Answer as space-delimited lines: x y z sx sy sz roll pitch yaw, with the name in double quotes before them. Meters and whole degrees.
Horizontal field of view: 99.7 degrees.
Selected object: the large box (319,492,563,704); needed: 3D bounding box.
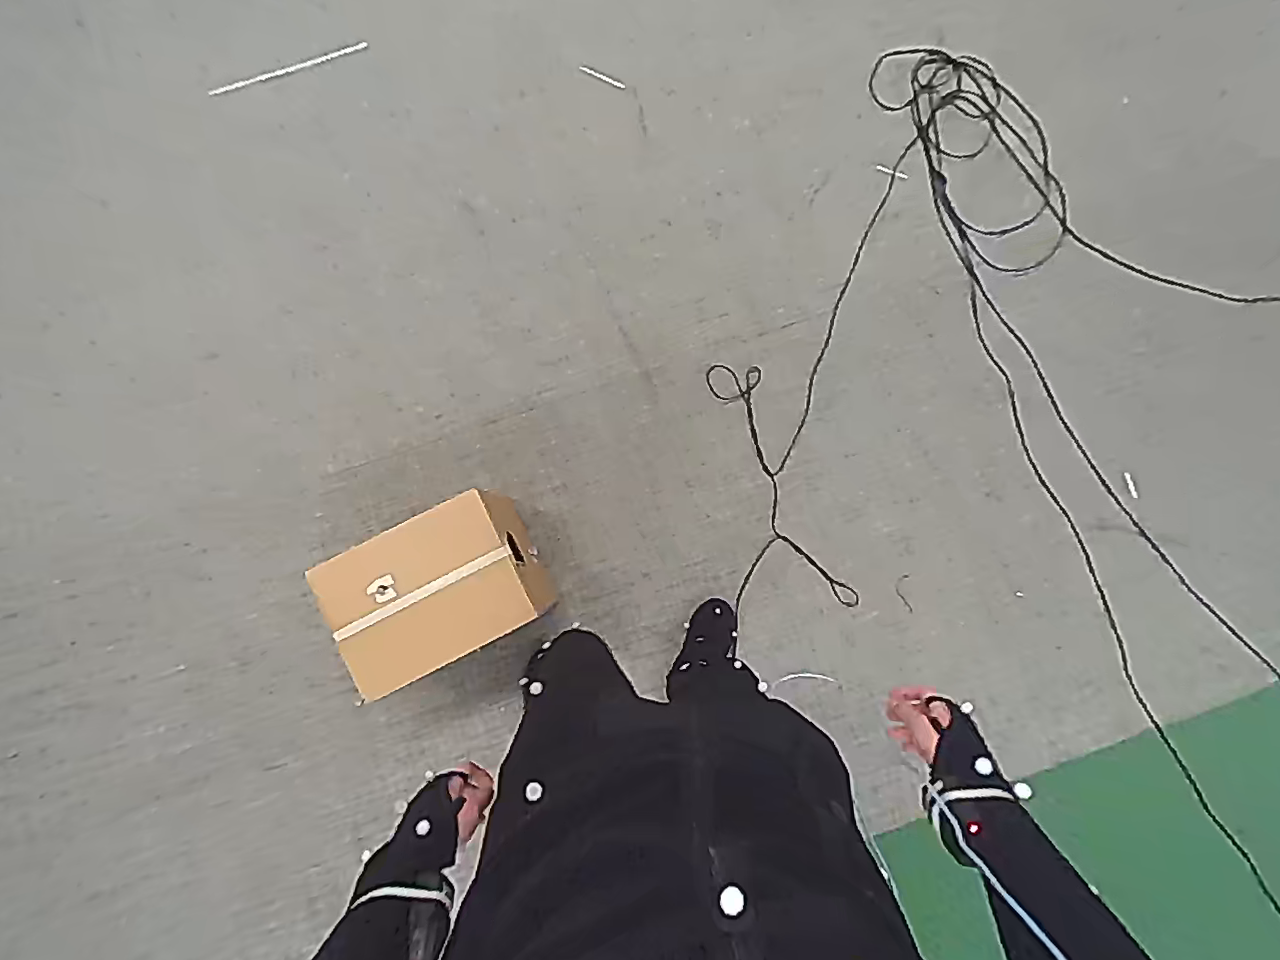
"large box" -0.448 0.261 1.308 0.408 0.320 0.320 -27 84 -2
